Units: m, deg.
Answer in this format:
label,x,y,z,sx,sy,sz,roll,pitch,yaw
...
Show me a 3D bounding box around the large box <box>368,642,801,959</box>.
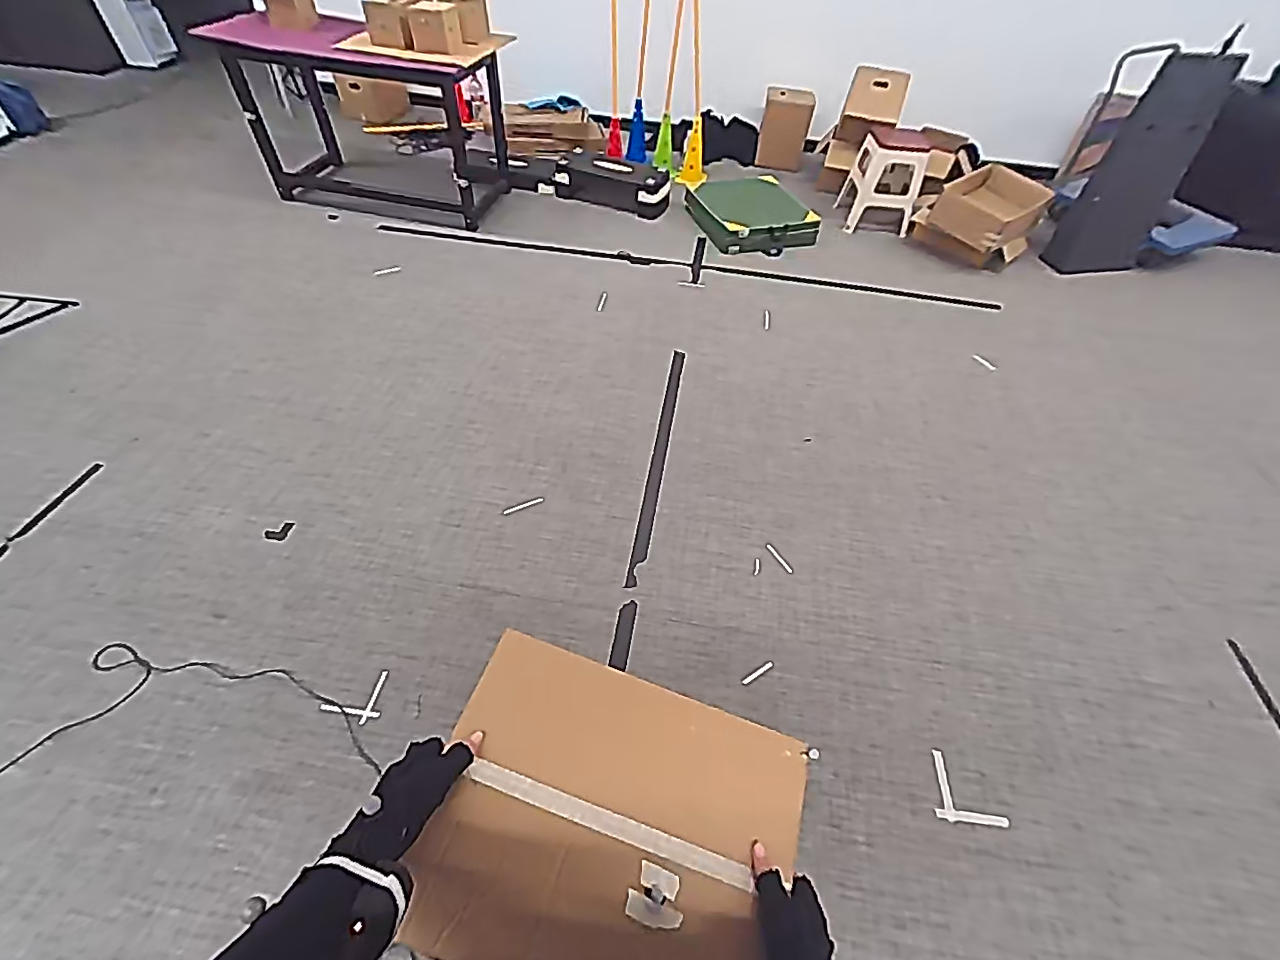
label,x,y,z,sx,sy,sz,roll,pitch,yaw
large box,-0.054,0.470,0.712,0.408,0.320,0.320,20,55,5
